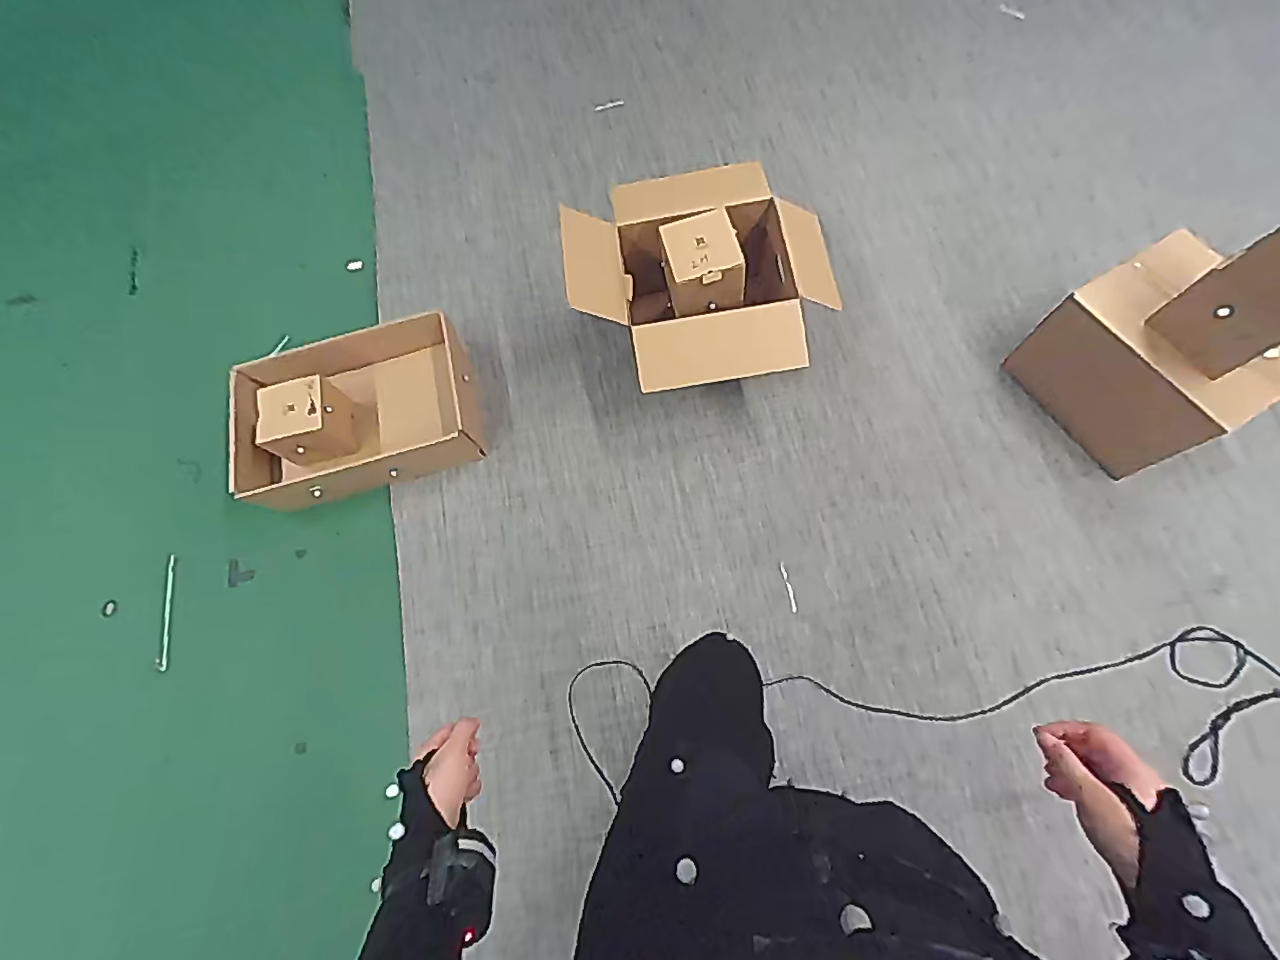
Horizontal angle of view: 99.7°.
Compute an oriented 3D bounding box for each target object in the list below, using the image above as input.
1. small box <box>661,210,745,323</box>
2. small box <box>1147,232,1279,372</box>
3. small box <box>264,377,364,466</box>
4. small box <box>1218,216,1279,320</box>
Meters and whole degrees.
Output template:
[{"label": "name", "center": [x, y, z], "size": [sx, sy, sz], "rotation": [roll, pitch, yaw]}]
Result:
[{"label": "small box", "center": [0.157, -0.527, 1.352], "size": [0.168, 0.176, 0.179], "rotation": [-16, 70, 4]}, {"label": "small box", "center": [1.167, -0.344, 1.050], "size": [0.168, 0.176, 0.179], "rotation": [-31, 71, -3]}, {"label": "small box", "center": [-0.892, -0.153, 1.490], "size": [0.179, 0.176, 0.168], "rotation": [-14, 69, 1]}, {"label": "small box", "center": [1.153, -0.384, 0.892], "size": [0.168, 0.176, 0.179], "rotation": [-31, 70, -2]}]
